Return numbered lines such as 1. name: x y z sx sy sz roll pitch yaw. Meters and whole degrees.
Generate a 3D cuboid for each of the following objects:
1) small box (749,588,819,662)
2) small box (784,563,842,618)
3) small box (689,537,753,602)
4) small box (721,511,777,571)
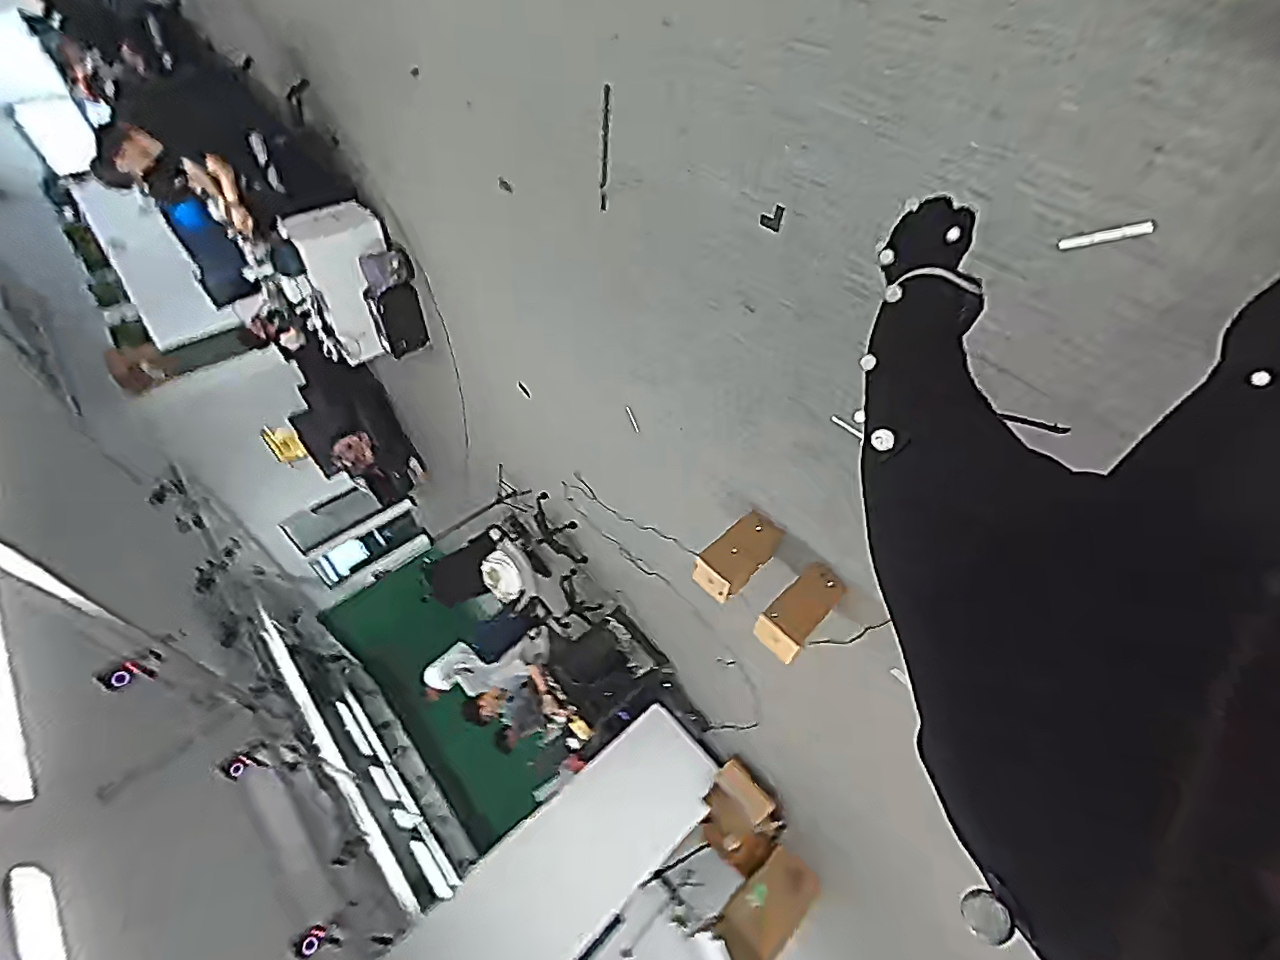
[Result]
1. small box: 0.545 0.546 2.044 0.179 0.176 0.168 41 149 27
2. small box: 0.660 0.462 2.122 0.168 0.176 0.179 43 149 23
3. small box: 0.327 0.352 2.184 0.179 0.176 0.168 42 150 27
4. small box: 0.446 0.267 2.260 0.168 0.176 0.179 42 149 27
